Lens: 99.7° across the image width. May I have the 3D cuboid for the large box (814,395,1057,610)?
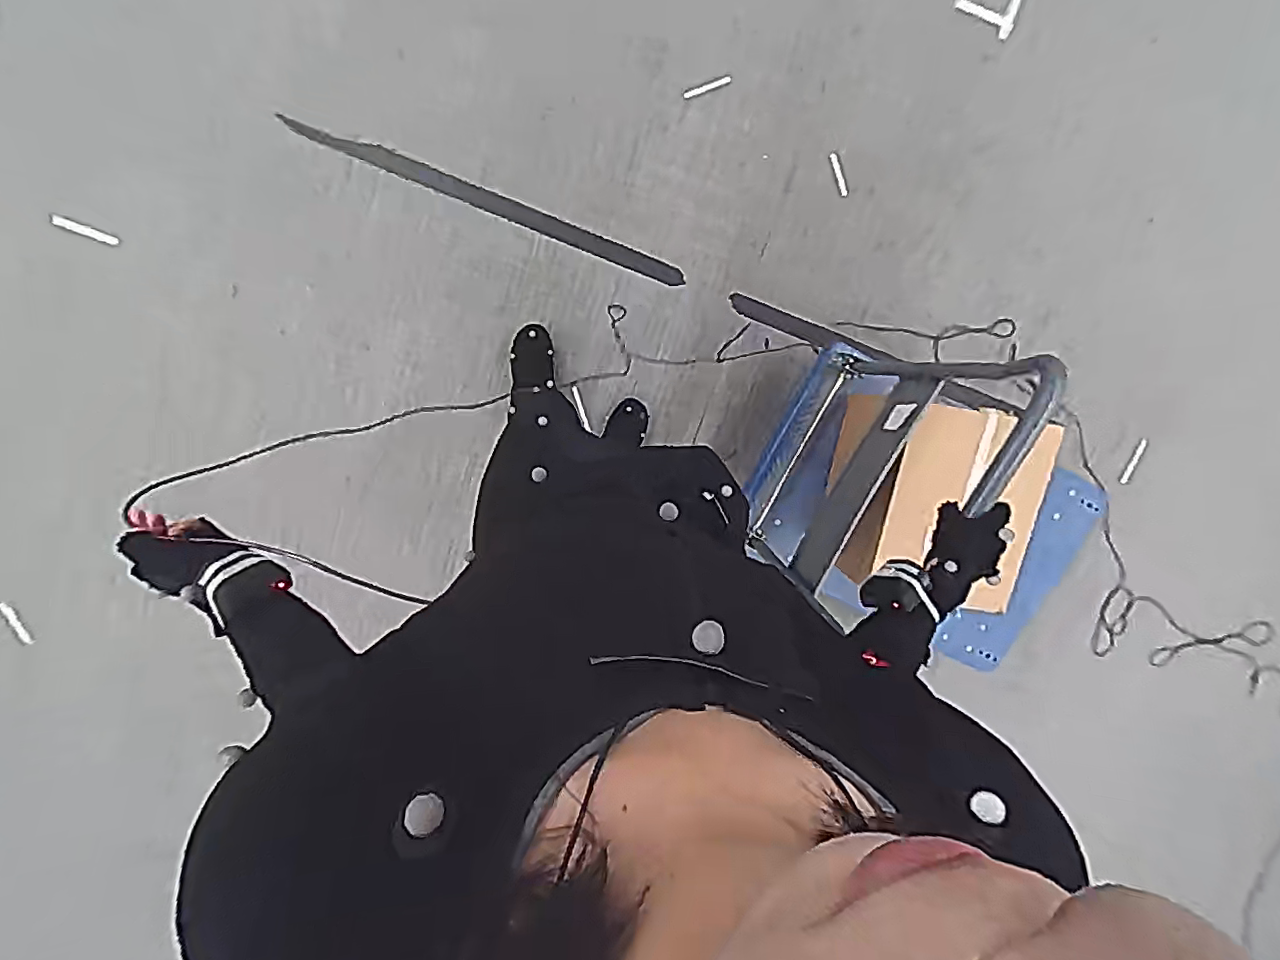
[{"bbox_3d":[0.637,0.031,1.236,0.320,0.320,0.408,9,101,-4],"label":"large box"}]
